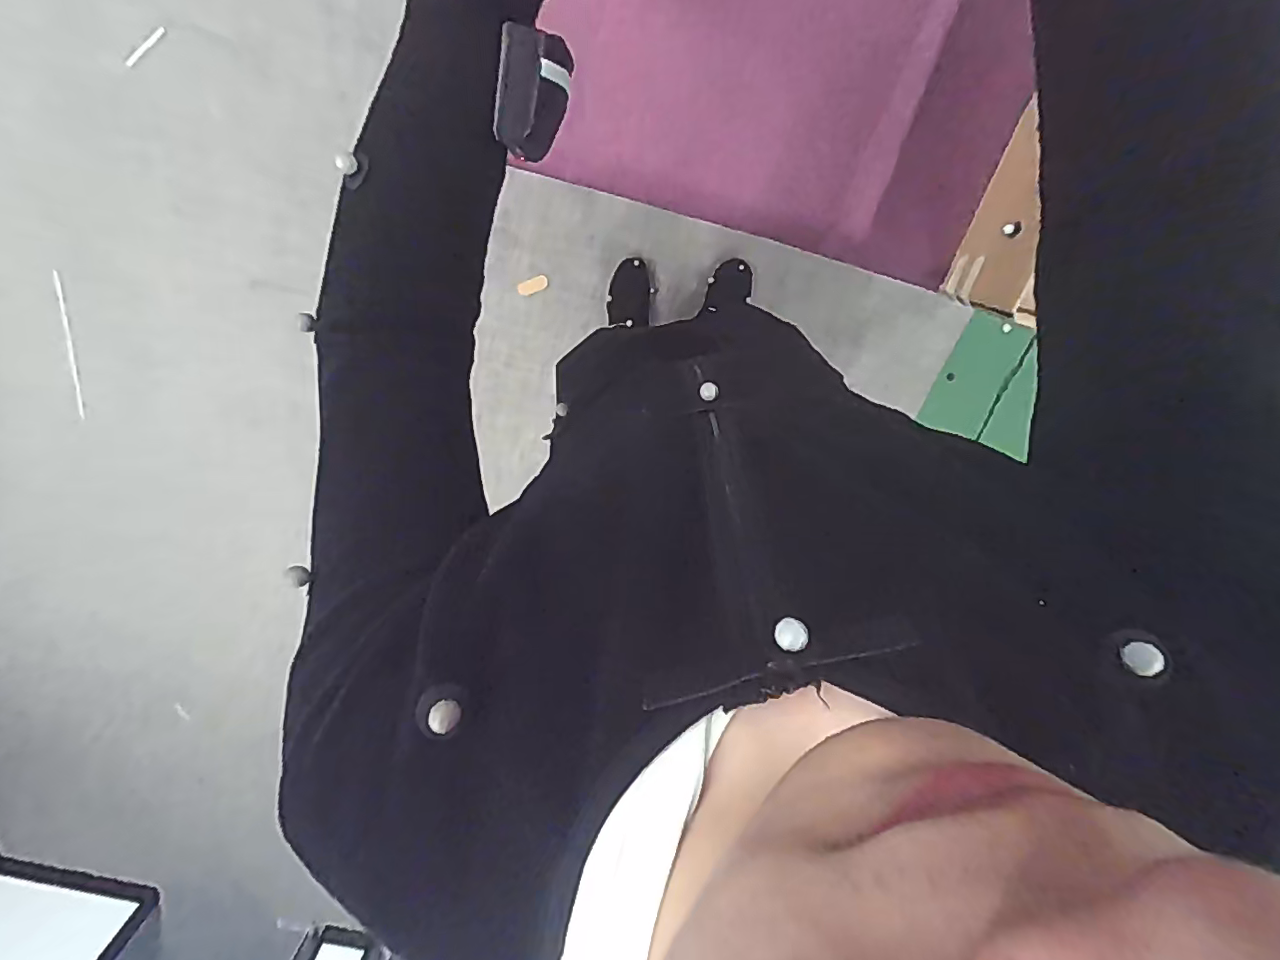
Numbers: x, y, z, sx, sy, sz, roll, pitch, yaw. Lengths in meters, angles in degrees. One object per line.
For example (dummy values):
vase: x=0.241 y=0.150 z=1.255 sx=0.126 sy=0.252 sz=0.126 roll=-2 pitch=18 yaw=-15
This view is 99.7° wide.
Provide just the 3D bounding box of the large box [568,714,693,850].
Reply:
large box: x=-0.028 y=1.175 z=2.117 sx=0.408 sy=0.320 sz=0.320 roll=-14 pitch=114 yaw=8
